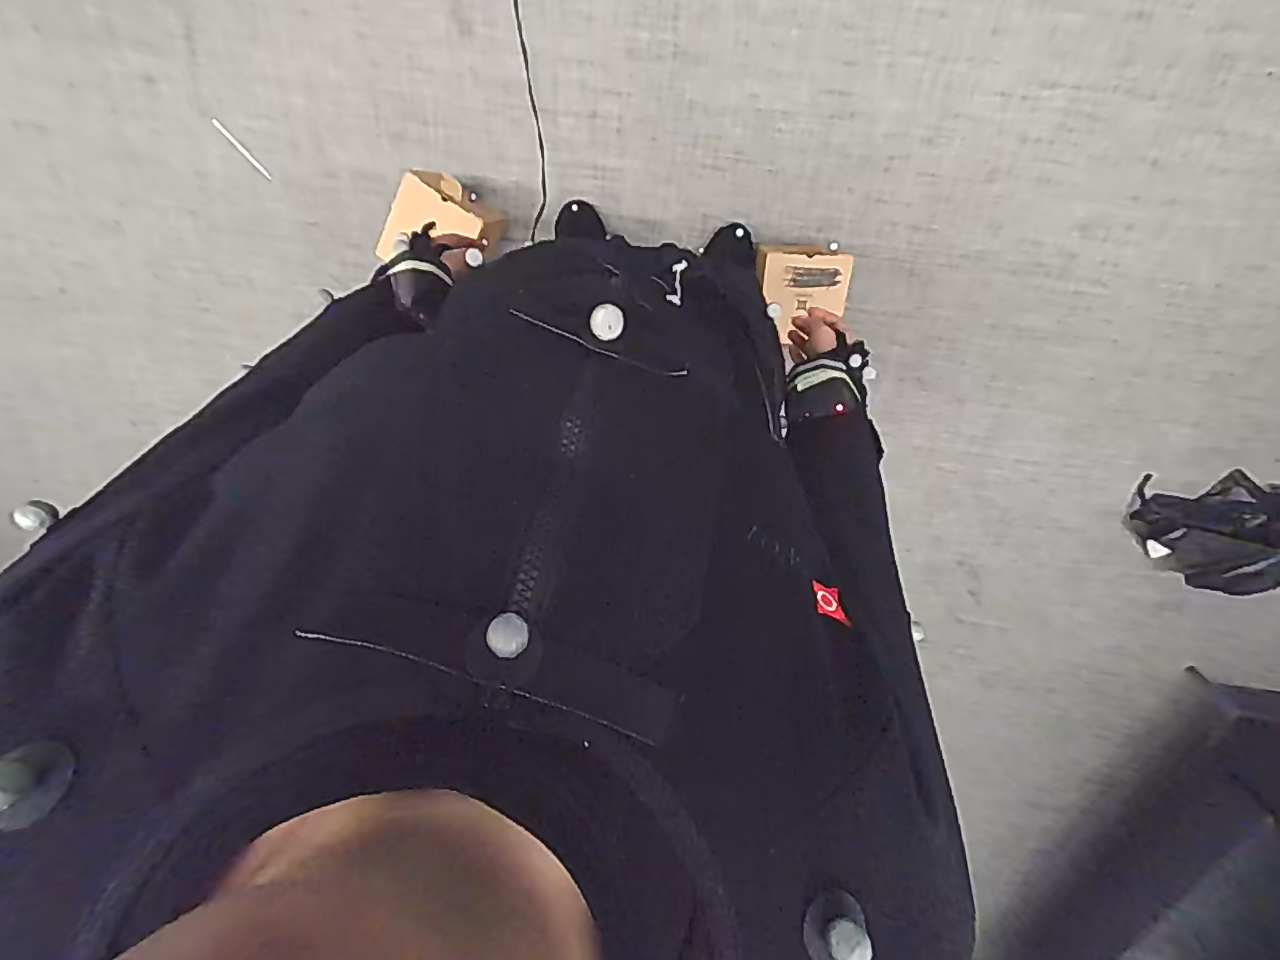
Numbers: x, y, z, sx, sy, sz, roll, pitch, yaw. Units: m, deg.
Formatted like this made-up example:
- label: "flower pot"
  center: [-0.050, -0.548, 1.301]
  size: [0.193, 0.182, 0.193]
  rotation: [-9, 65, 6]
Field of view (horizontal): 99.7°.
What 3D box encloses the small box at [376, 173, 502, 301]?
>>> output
- label: "small box"
  center: [-0.410, -0.506, 1.129]
  size: [0.168, 0.176, 0.179]
  rotation: [31, 115, -11]
